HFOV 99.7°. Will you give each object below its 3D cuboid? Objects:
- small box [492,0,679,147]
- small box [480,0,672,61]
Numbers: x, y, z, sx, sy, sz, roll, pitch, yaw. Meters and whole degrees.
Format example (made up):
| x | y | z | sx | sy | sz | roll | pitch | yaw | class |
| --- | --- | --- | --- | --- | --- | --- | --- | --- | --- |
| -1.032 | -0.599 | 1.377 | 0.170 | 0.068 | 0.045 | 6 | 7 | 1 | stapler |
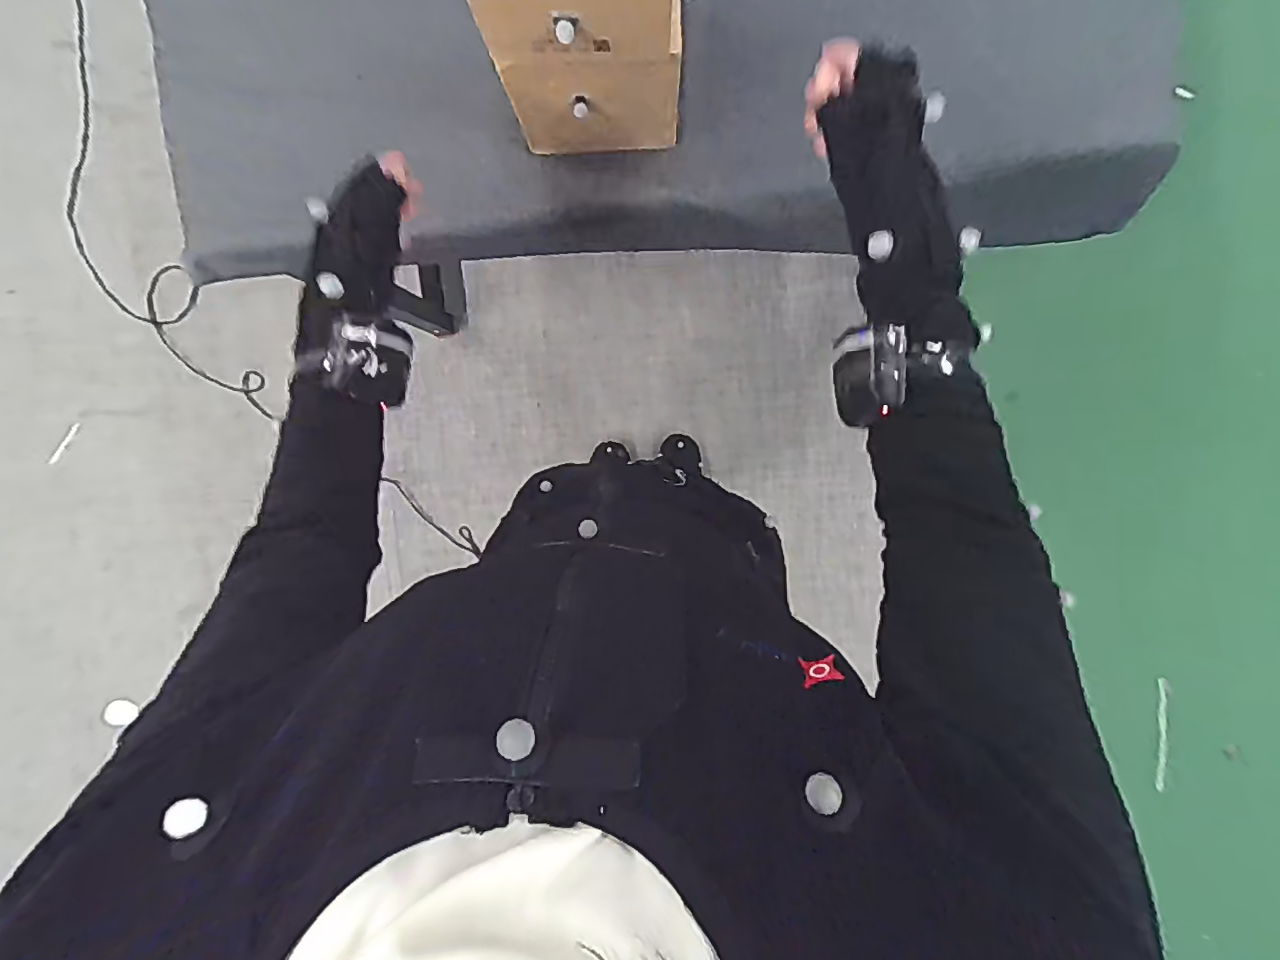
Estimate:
| x | y | z | sx | sy | sz | roll | pitch | yaw | class |
| --- | --- | --- | --- | --- | --- | --- | --- | --- | --- |
| -0.048 | -0.479 | 0.571 | 0.179 | 0.176 | 0.168 | -1 | 95 | 2 | small box |
| -0.053 | -0.467 | 0.407 | 0.168 | 0.176 | 0.179 | 2 | 96 | 1 | small box |
